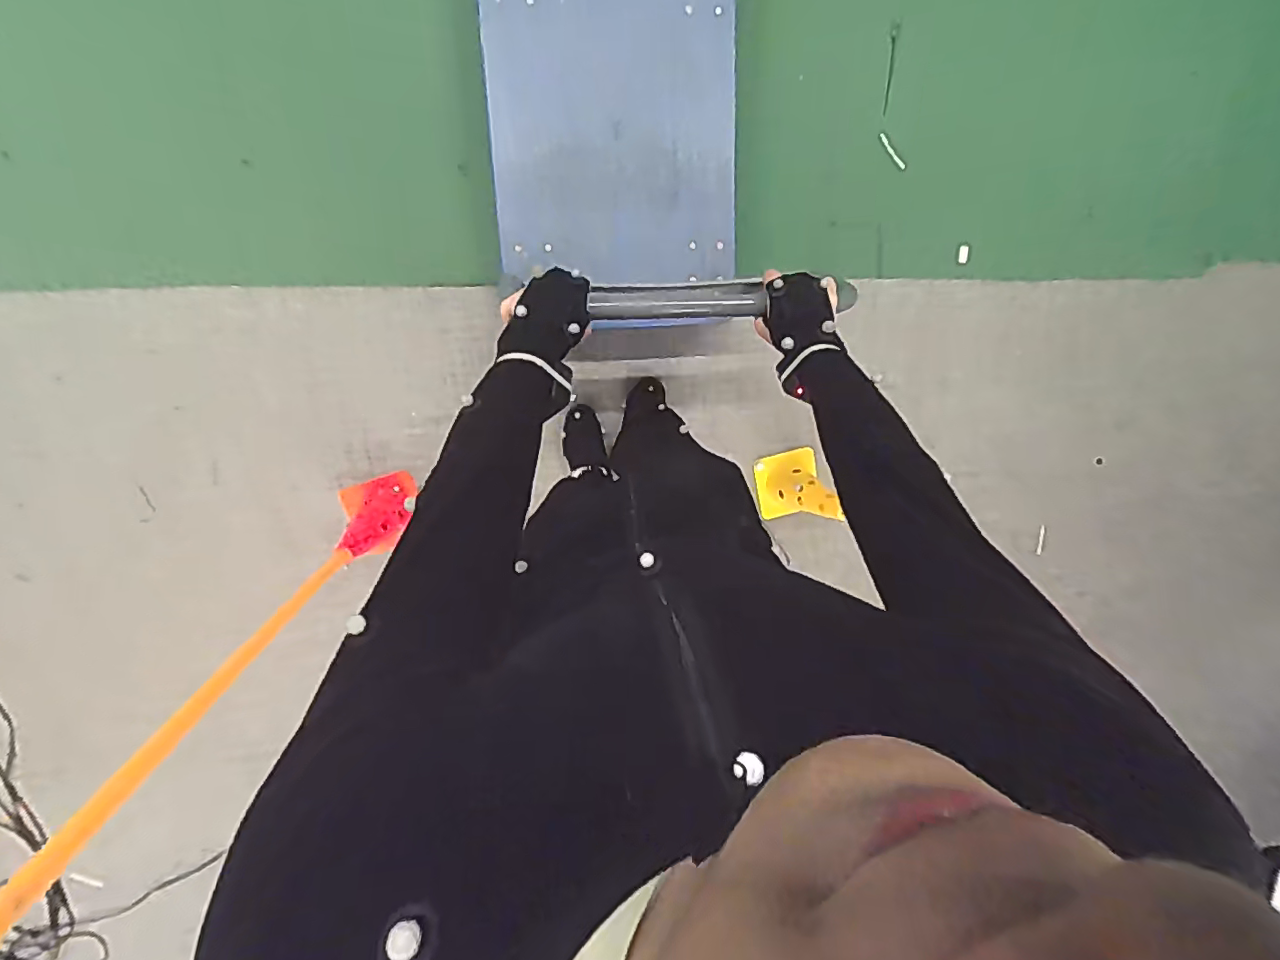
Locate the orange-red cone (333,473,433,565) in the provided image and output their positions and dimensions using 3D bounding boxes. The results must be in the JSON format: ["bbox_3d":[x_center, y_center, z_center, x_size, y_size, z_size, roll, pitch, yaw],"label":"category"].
[{"bbox_3d":[-0.674,0.131,1.338,0.199,0.360,0.198,-18,105,-4],"label":"orange-red cone"}]
